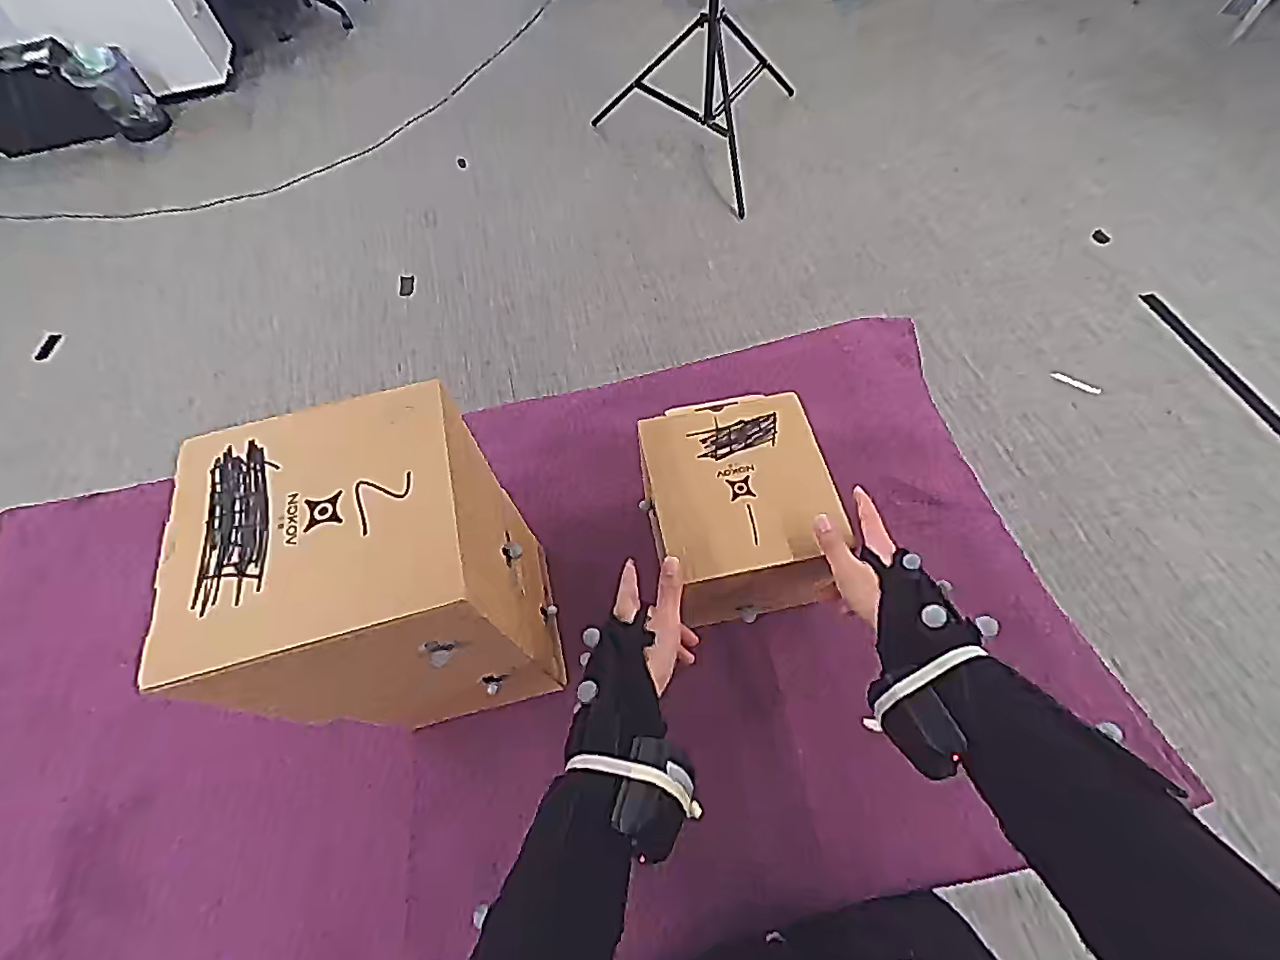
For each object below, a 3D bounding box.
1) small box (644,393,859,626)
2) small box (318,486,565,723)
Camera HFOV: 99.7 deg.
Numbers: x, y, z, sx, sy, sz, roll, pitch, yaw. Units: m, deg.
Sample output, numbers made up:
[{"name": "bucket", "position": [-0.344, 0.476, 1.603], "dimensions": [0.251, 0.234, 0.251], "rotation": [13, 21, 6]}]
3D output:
[{"name": "small box", "position": [0.099, 0.037, 0.573], "dimensions": [0.168, 0.176, 0.179], "rotation": [-11, 62, -2]}, {"name": "small box", "position": [-0.187, 0.133, 0.544], "dimensions": [0.179, 0.176, 0.168], "rotation": [-14, 61, -4]}]
